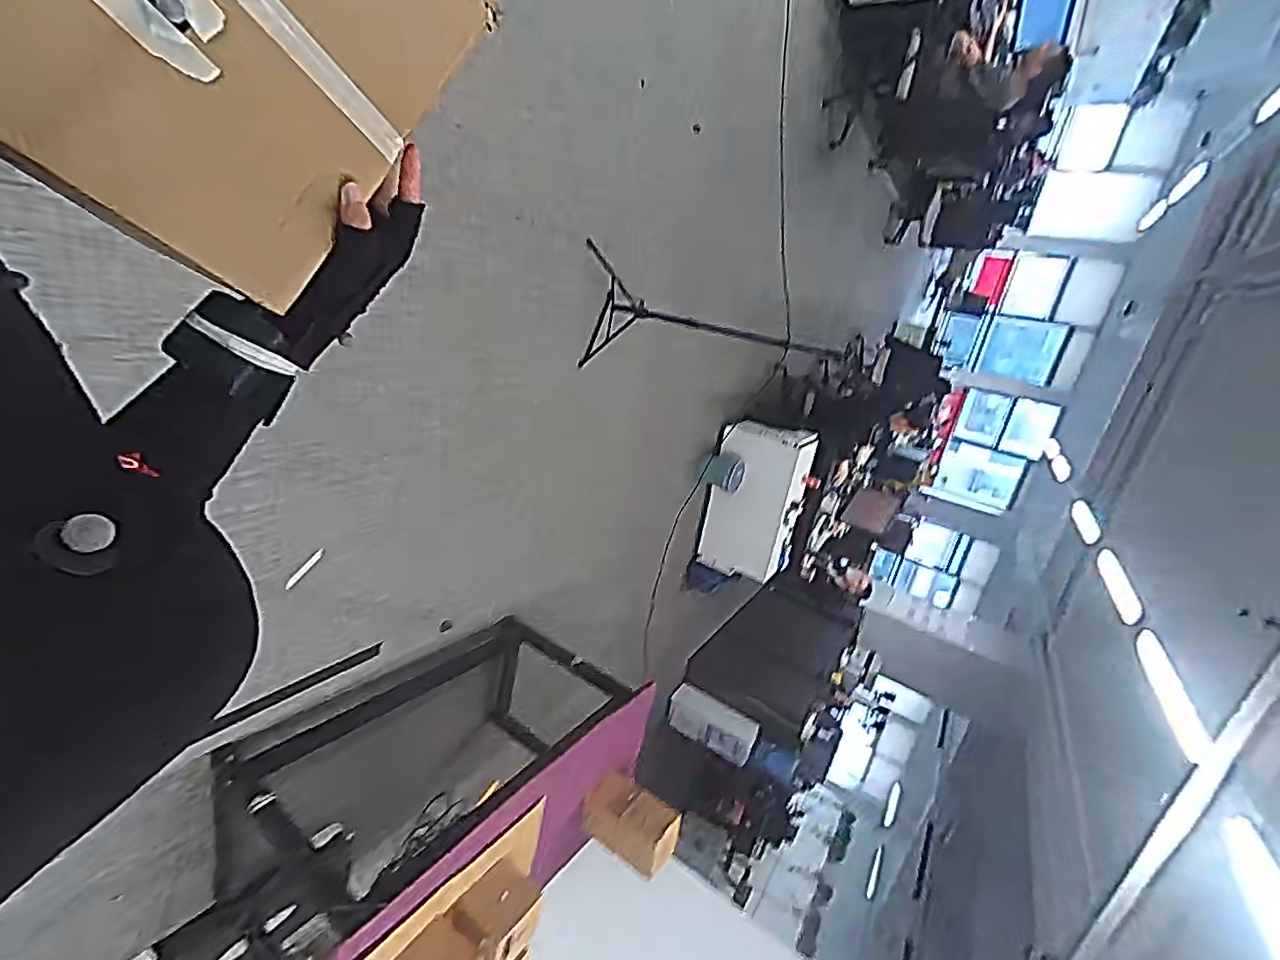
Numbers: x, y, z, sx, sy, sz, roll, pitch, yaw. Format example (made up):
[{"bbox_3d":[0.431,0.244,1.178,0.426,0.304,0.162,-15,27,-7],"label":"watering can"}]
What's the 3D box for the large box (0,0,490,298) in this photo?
[{"bbox_3d":[-0.395,-0.391,0.348,0.320,0.320,0.408,-59,148,-6],"label":"large box"}]
